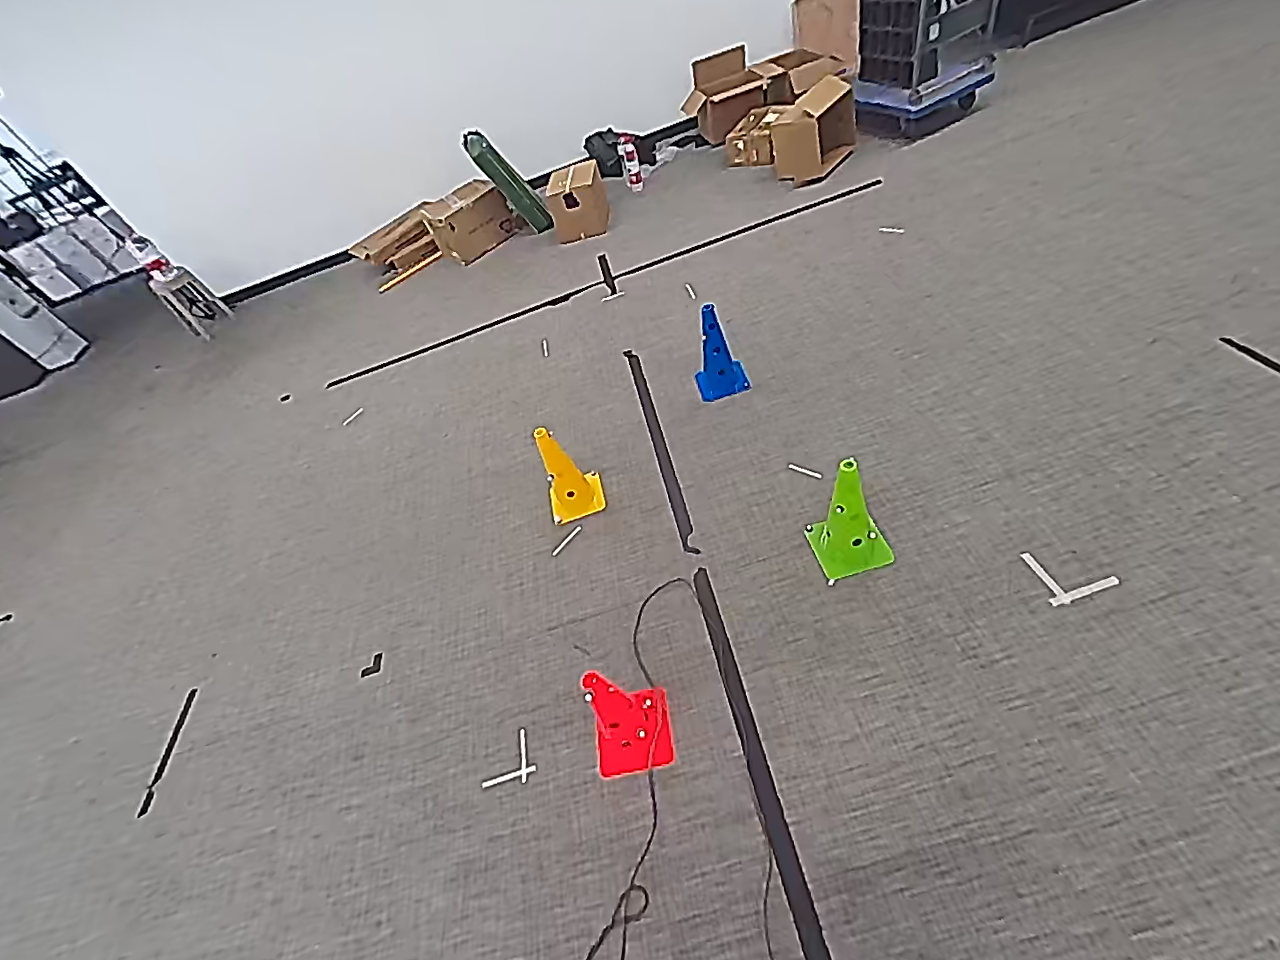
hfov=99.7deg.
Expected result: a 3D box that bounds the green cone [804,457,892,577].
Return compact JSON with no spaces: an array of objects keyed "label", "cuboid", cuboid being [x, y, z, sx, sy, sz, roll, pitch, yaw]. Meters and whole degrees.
[{"label":"green cone","cuboid":[0.570,0.077,1.484,0.202,0.368,0.200,-18,46,3]}]

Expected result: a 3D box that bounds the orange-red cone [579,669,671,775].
[{"label":"orange-red cone","cuboid":[-0.069,0.548,1.303,0.199,0.360,0.198,-16,45,8]}]

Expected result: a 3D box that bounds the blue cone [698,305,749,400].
[{"label":"blue cone","cuboid":[0.302,-0.515,2.134,0.192,0.380,0.193,-15,47,6]}]
